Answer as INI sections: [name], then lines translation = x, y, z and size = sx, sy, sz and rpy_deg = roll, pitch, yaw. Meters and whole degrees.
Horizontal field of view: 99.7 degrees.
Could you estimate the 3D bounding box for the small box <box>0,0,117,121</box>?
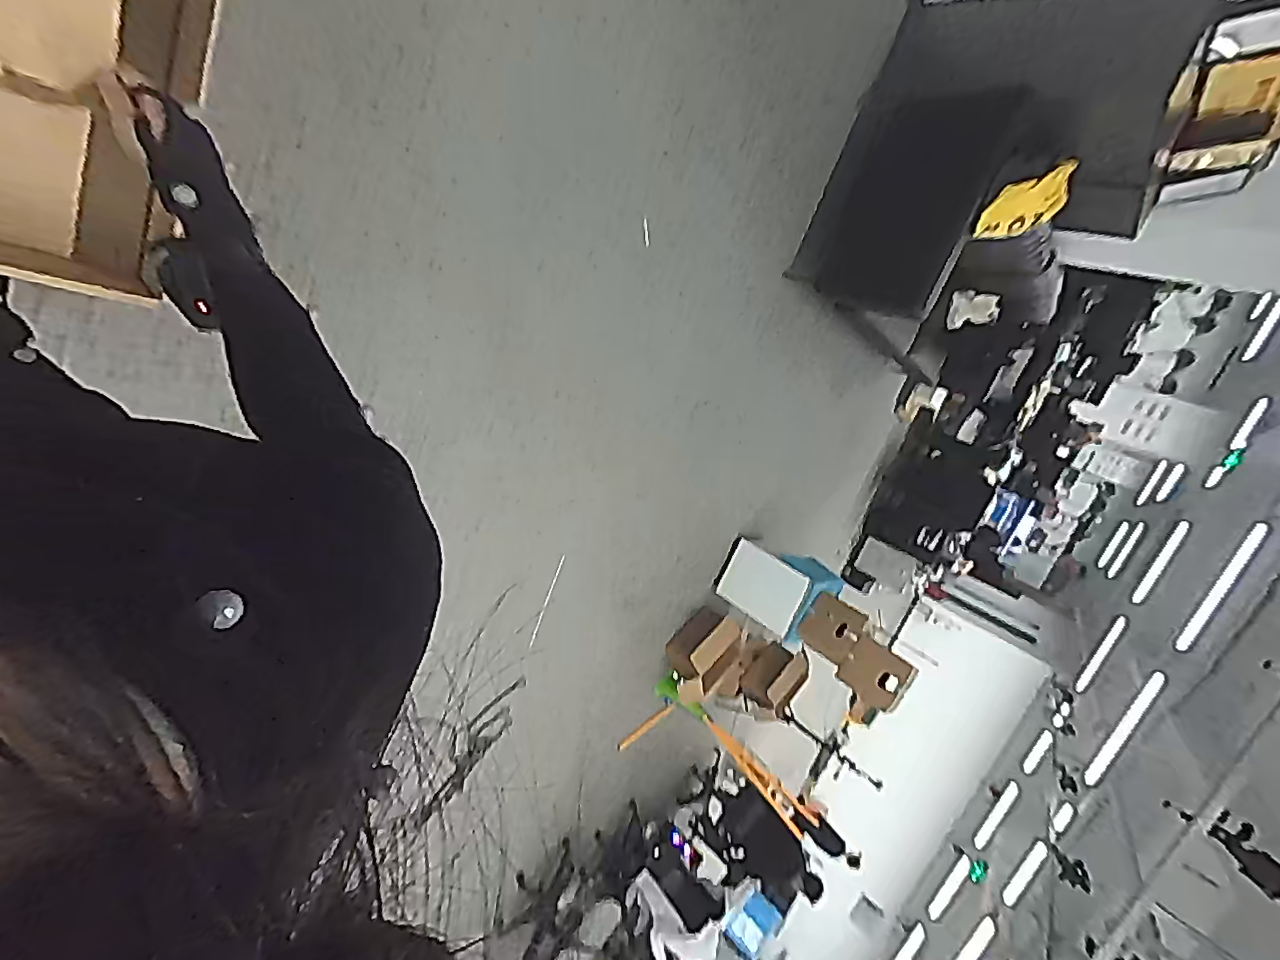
[small box]
translation = -0.518, -0.398, 0.392
size = 0.168, 0.176, 0.179
rpy_deg = -7, 116, -60
